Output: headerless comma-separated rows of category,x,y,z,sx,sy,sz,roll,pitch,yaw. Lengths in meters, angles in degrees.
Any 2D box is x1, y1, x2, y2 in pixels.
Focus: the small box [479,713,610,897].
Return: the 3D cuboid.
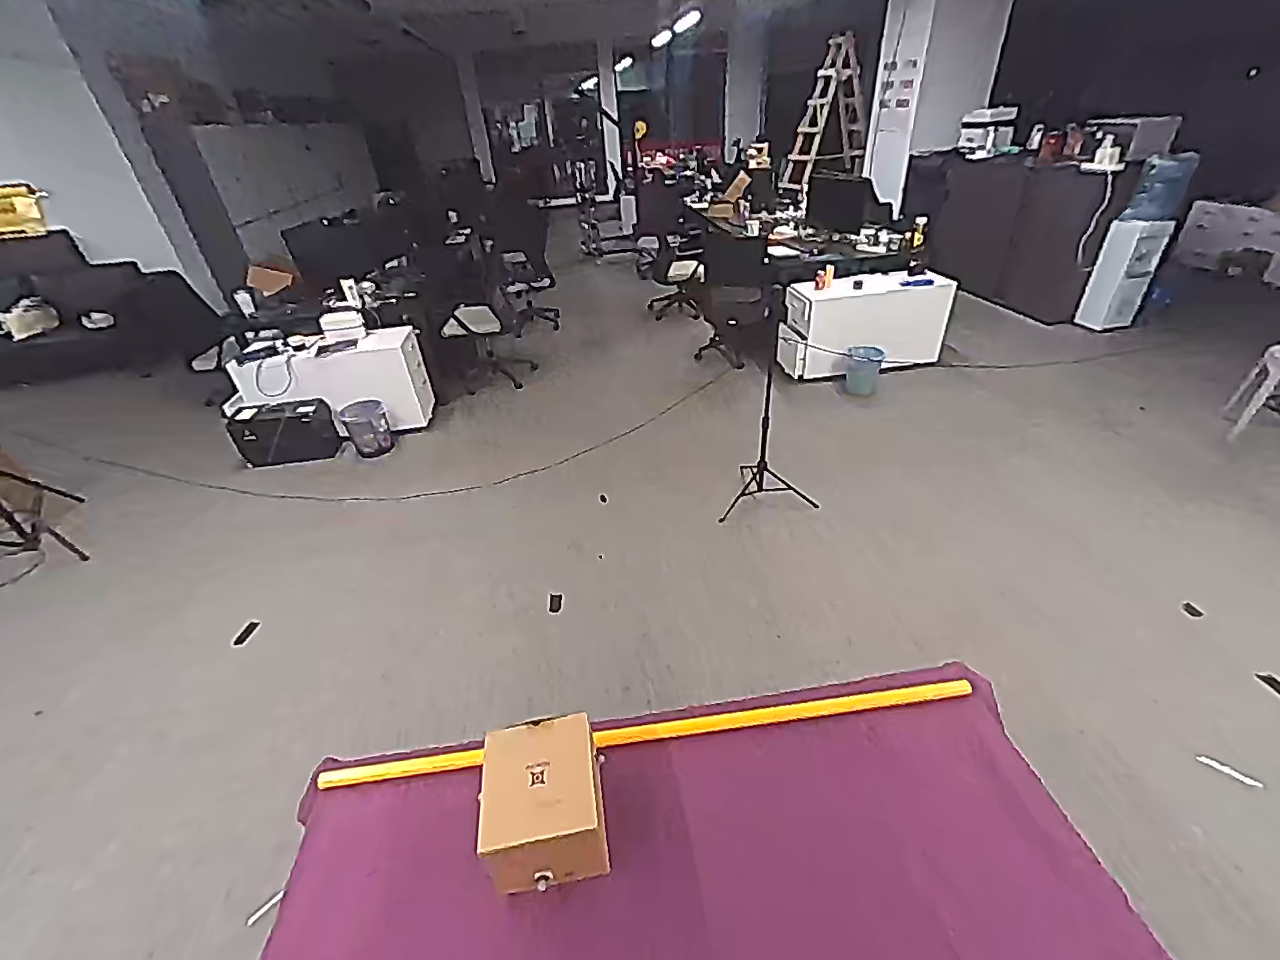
small box,-0.142,0.500,0.839,0.168,0.176,0.179,-9,35,-5
